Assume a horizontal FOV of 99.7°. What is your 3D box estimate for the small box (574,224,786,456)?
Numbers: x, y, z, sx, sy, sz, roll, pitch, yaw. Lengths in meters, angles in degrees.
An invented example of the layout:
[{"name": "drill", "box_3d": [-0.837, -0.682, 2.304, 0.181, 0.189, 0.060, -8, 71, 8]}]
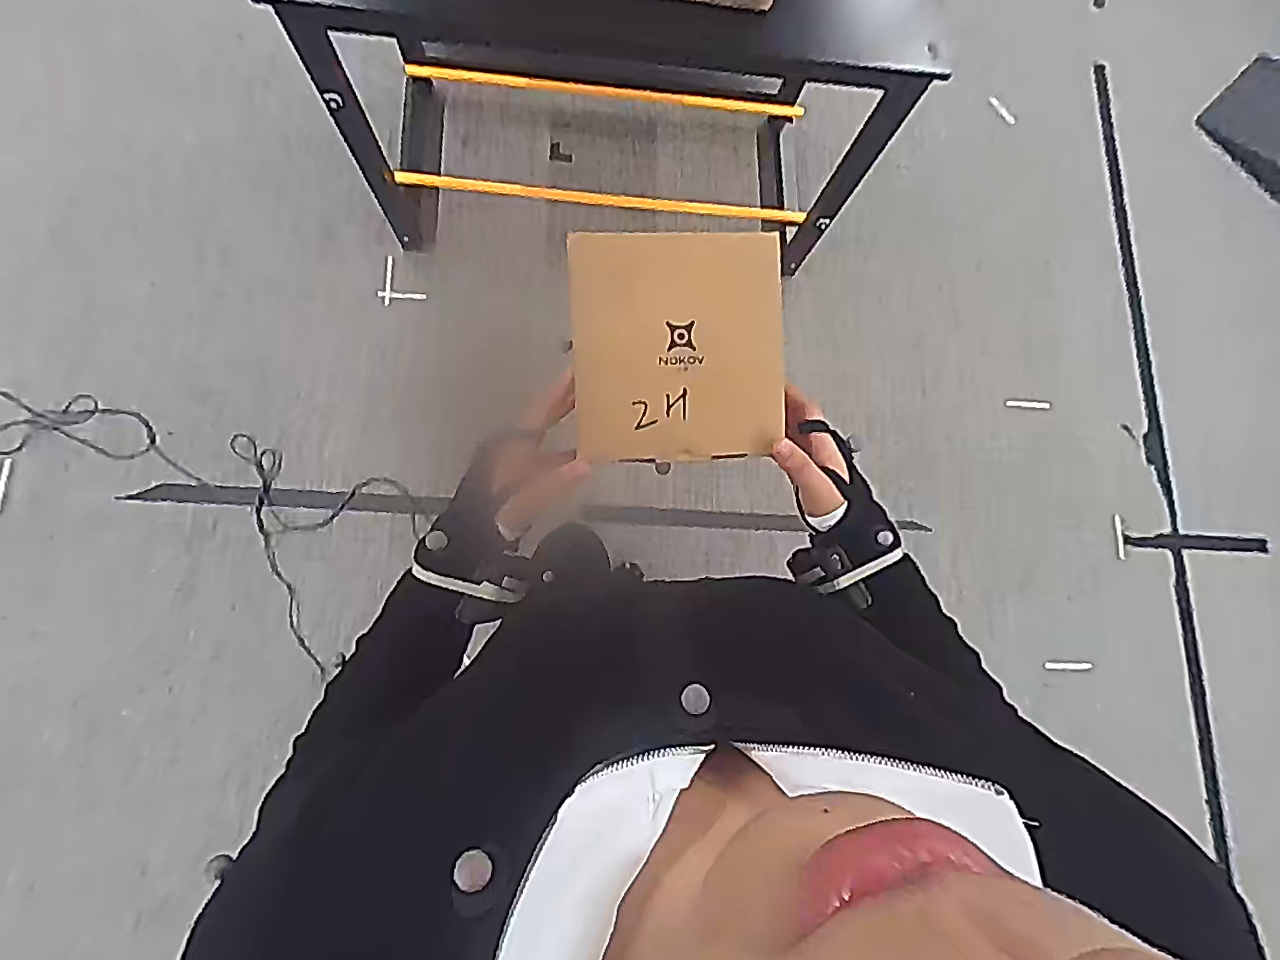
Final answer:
[{"name": "small box", "box_3d": [0.024, -0.112, 0.497, 0.168, 0.176, 0.179, -3, 93, -5]}]
